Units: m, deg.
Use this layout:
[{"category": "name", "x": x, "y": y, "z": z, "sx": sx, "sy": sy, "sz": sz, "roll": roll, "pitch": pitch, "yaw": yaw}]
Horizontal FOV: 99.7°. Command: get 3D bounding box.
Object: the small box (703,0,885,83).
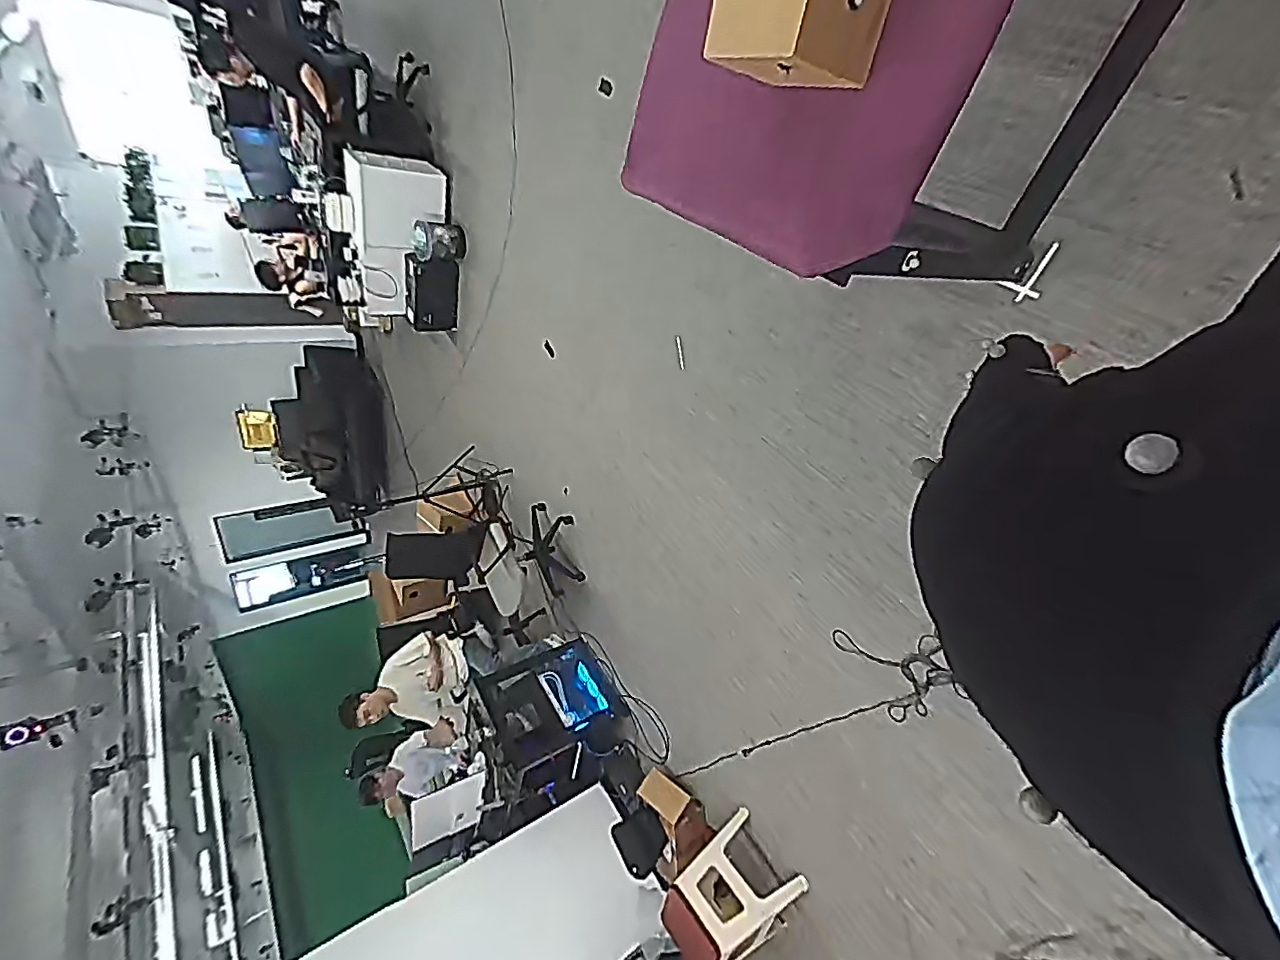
[{"category": "small box", "x": 0.219, "y": -0.659, "z": 0.733, "sx": 0.179, "sy": 0.176, "sz": 0.168, "roll": 41, "pitch": 131, "yaw": 40}]
